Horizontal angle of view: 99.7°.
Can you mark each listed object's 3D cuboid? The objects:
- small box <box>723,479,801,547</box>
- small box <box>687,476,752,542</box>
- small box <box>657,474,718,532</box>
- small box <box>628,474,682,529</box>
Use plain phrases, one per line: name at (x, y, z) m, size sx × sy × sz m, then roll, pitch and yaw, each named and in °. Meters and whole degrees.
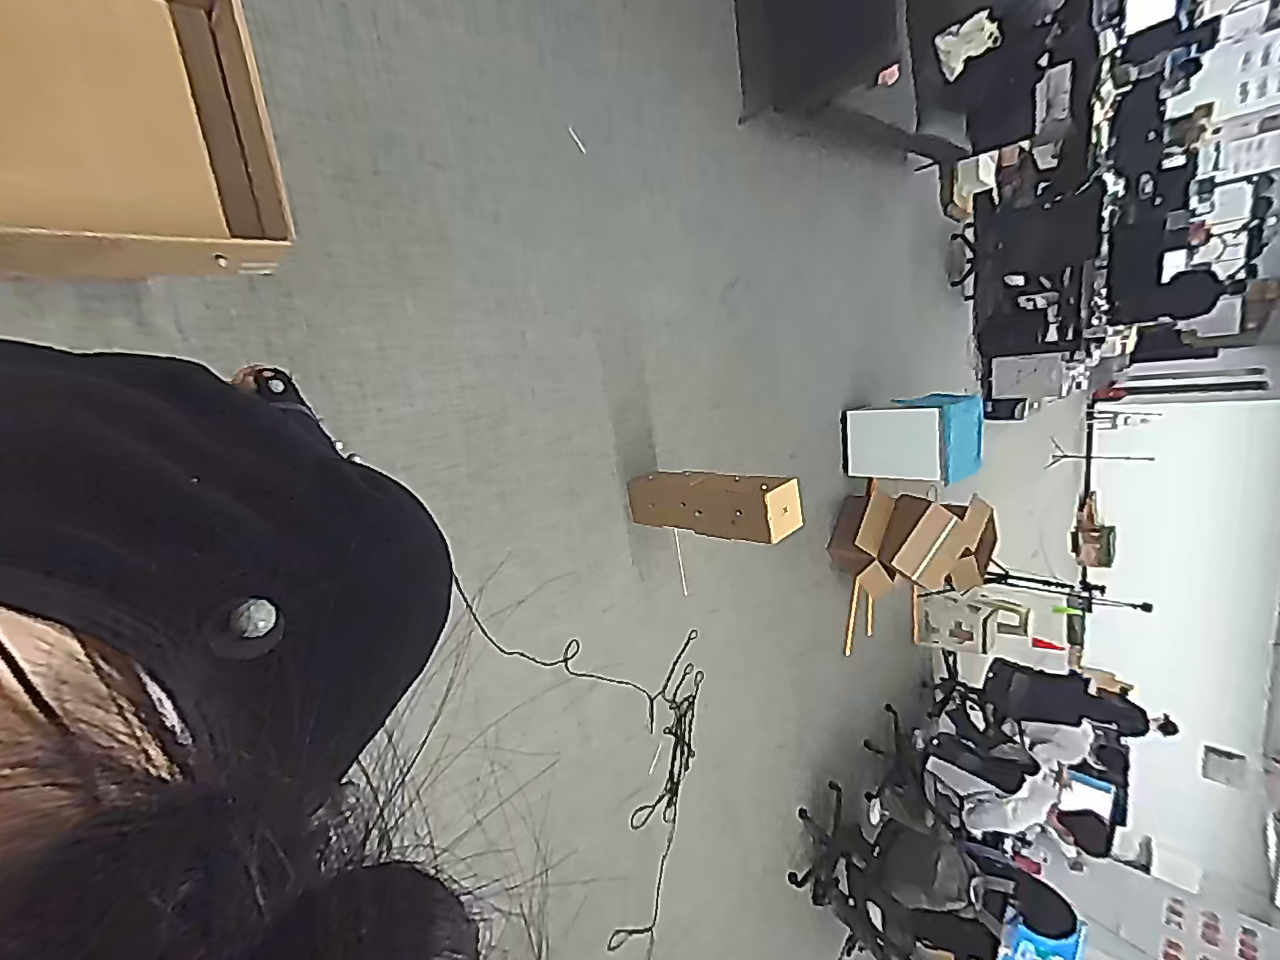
small box at (0.391, 0.098, 1.731) m, size 0.179 × 0.176 × 0.168 m, roll -22°, pitch 107°, yaw -39°
small box at (0.283, 0.094, 1.853) m, size 0.168 × 0.176 × 0.179 m, roll -23°, pitch 109°, yaw -40°
small box at (0.181, 0.077, 1.981) m, size 0.168 × 0.176 × 0.179 m, roll -20°, pitch 106°, yaw -40°
small box at (0.070, 0.079, 2.102) m, size 0.168 × 0.176 × 0.179 m, roll -20°, pitch 107°, yaw -41°
